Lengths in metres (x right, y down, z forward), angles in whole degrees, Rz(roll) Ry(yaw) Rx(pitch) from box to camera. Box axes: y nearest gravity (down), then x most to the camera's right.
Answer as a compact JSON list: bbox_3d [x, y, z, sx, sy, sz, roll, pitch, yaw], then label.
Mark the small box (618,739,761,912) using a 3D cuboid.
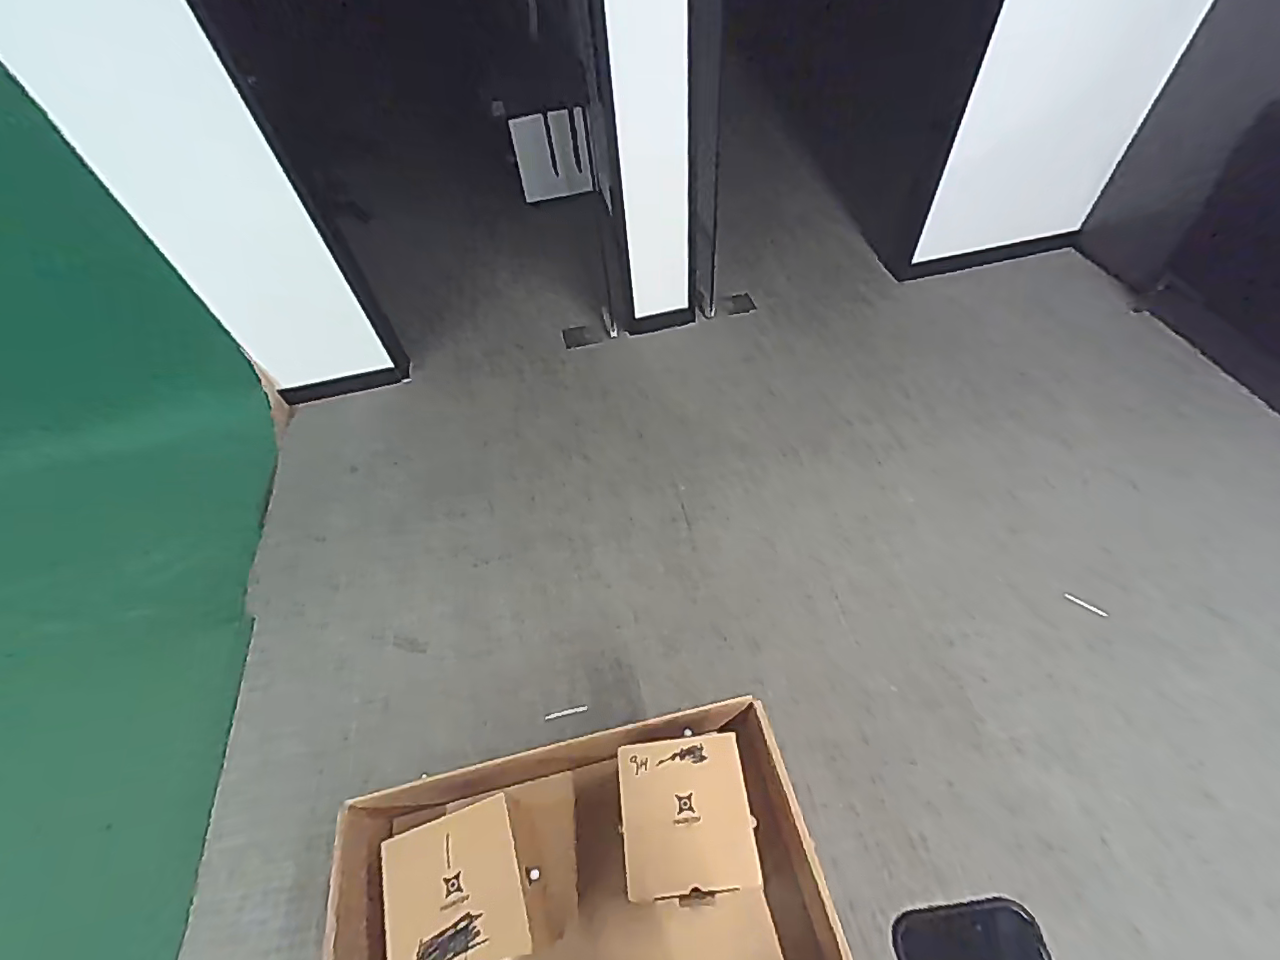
[{"bbox_3d":[0.064,0.478,0.756,0.168,0.176,0.179,-7,54,0],"label":"small box"}]
